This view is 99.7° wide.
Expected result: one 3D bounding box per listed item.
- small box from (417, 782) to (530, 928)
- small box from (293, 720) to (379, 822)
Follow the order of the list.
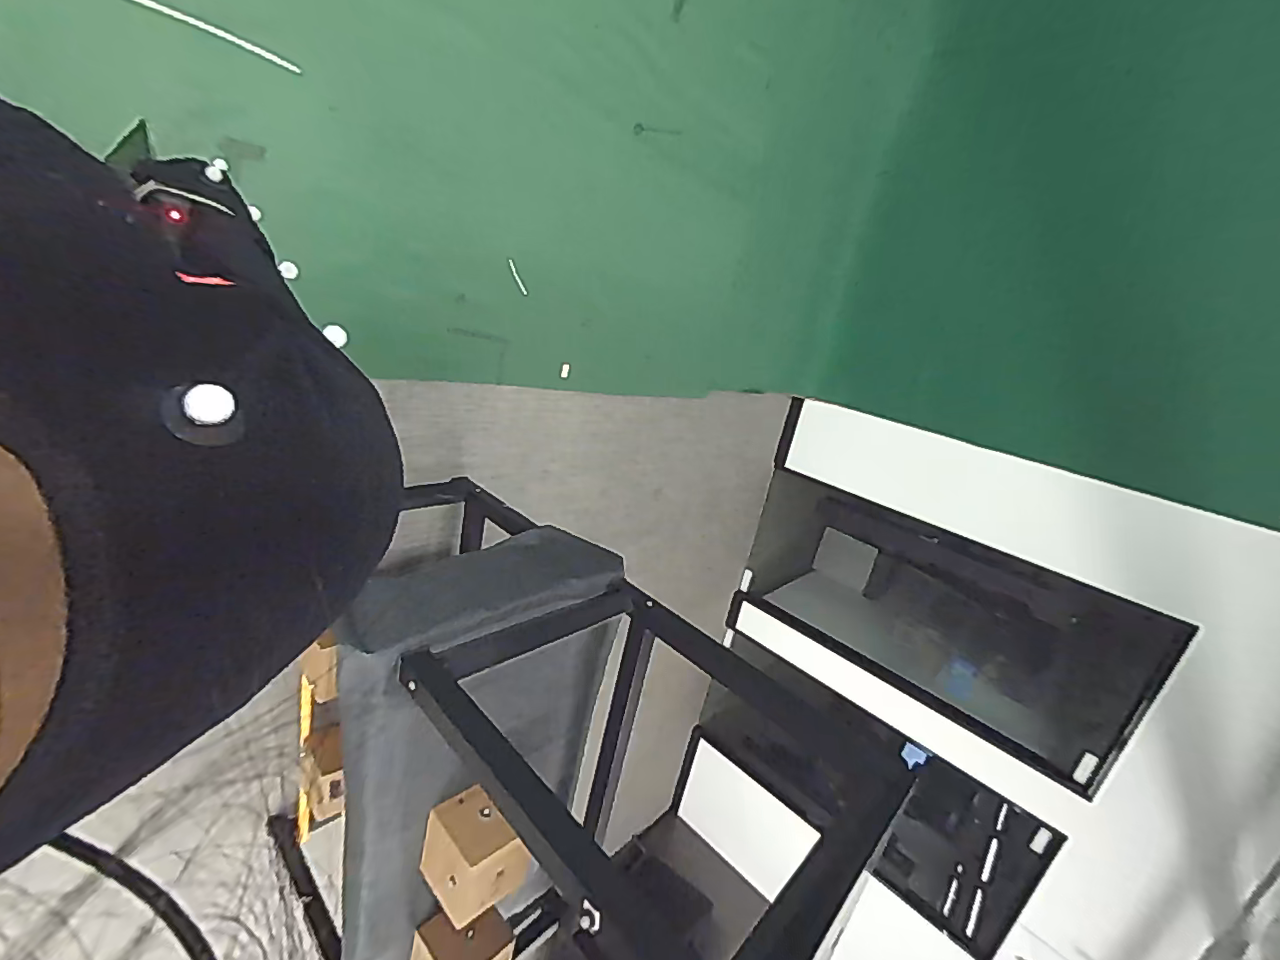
[{"bbox_3d":[-0.370,0.806,1.191,0.168,0.176,0.179,-4,114,-50],"label":"small box"},{"bbox_3d":[-0.911,0.857,1.612,0.179,0.176,0.168,-4,114,-50],"label":"small box"}]
